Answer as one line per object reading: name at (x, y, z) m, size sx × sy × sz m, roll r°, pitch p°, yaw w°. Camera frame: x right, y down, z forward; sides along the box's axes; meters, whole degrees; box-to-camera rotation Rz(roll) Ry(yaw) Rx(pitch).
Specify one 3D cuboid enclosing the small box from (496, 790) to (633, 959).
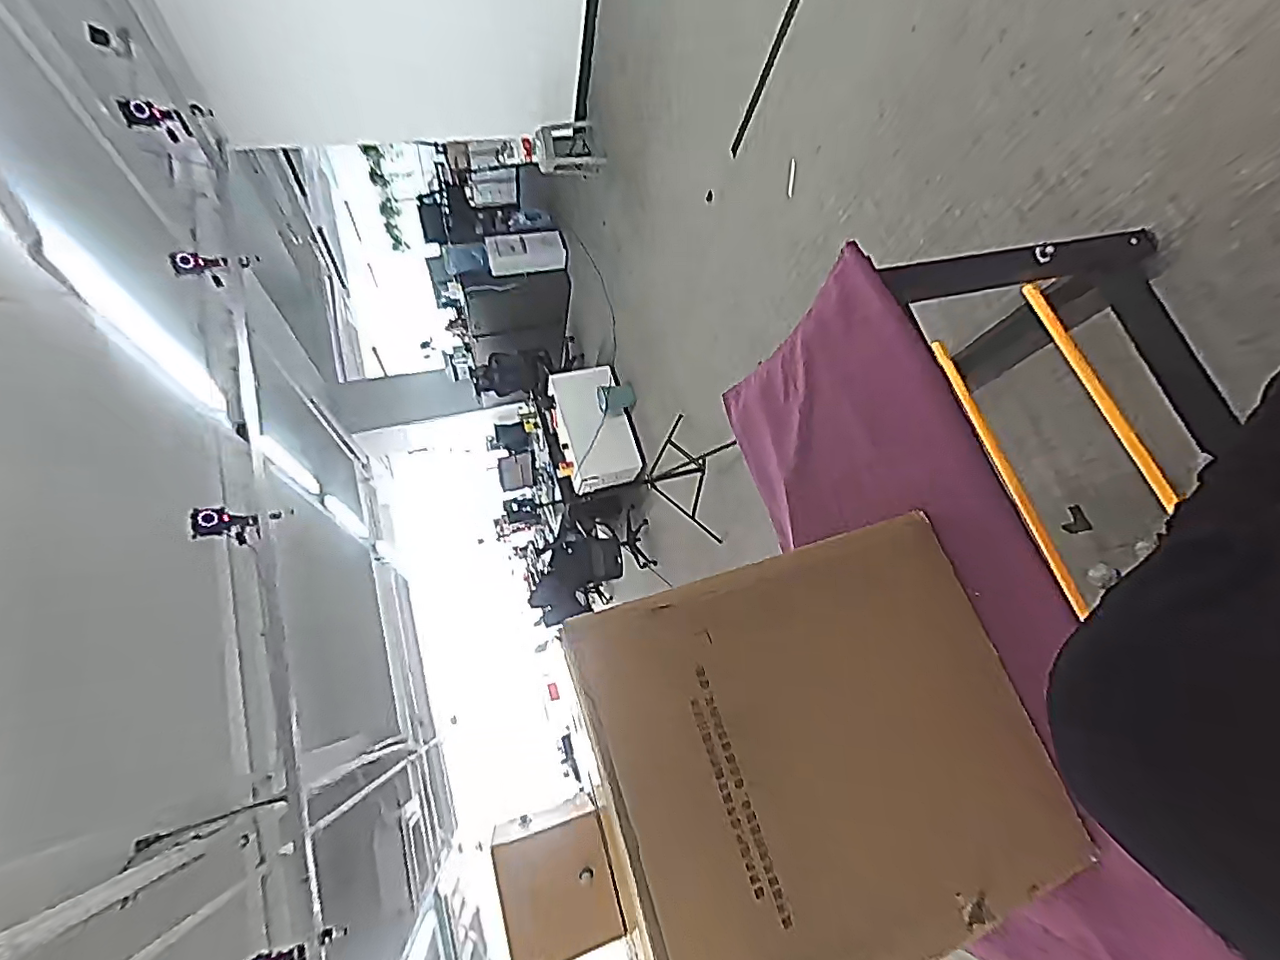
small box at (-0.125, 0.629, 0.862) m, size 0.168 × 0.176 × 0.179 m, roll 118°, pitch 137°, yaw -67°
